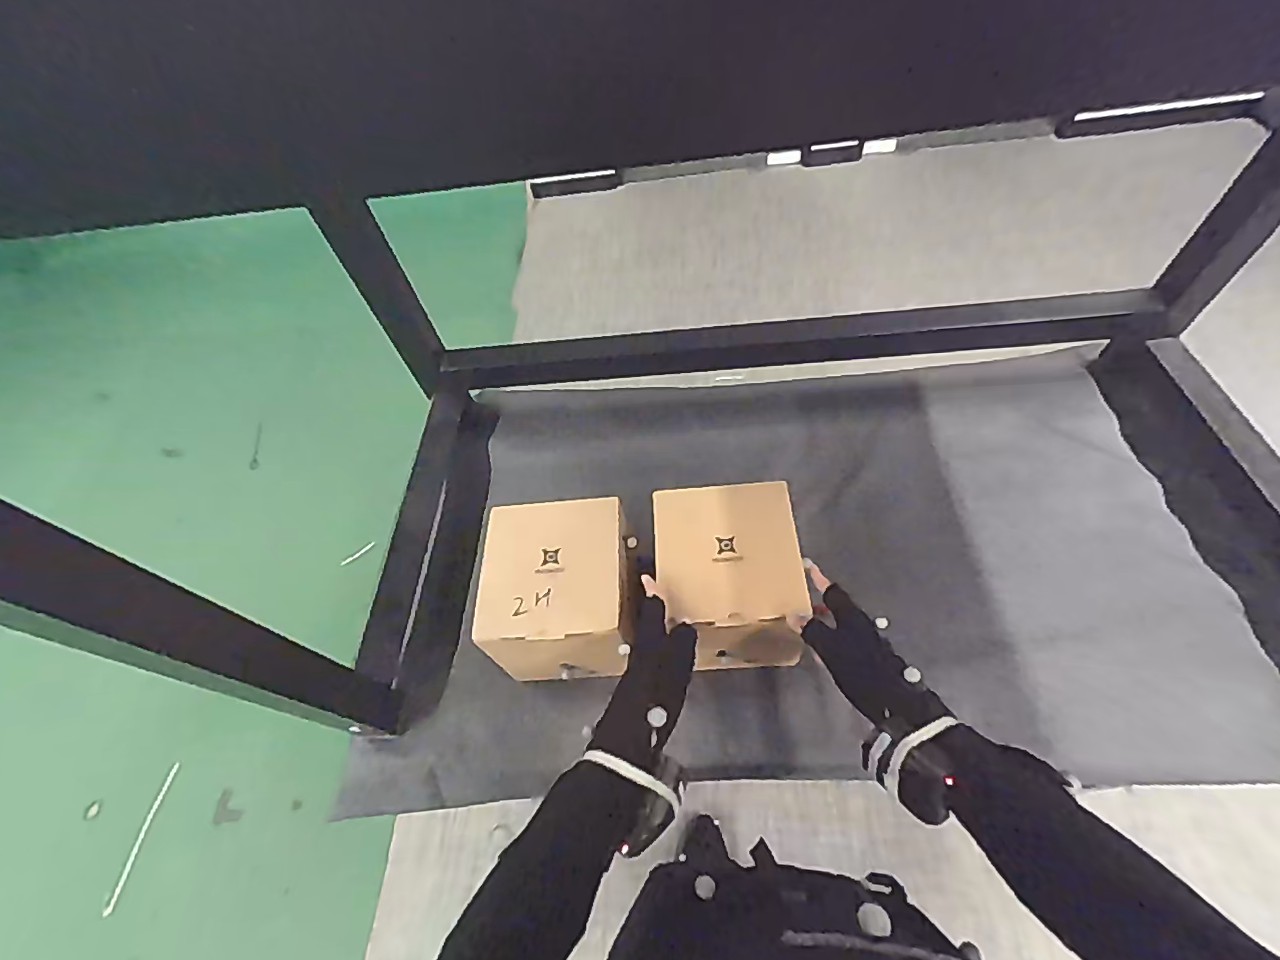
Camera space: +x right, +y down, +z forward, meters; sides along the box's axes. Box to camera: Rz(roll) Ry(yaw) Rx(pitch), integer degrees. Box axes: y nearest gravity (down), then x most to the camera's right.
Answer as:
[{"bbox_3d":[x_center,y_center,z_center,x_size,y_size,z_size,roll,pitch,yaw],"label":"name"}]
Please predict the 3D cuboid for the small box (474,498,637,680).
[{"bbox_3d":[-0.096,0.144,0.701,0.168,0.176,0.179,-5,55,5],"label":"small box"}]

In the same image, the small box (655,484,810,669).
[{"bbox_3d":[0.107,0.126,0.689,0.168,0.176,0.179,-5,55,5],"label":"small box"}]
